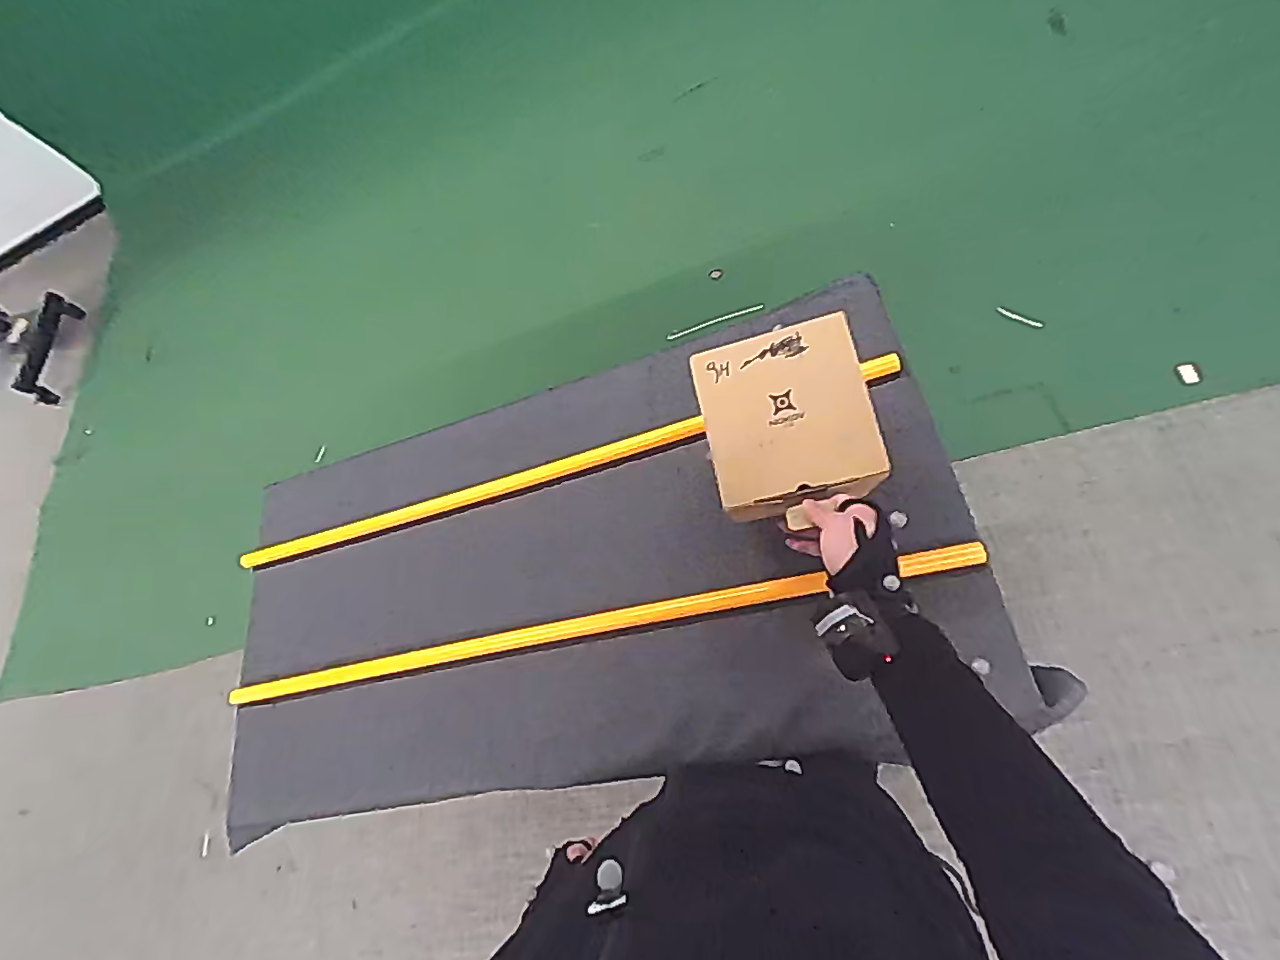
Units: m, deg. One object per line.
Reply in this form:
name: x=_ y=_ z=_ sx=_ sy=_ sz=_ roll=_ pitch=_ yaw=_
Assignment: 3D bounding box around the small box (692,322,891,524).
small box: x=0.176 y=-0.050 z=0.634 sx=0.168 sy=0.176 sz=0.179 roll=-17 pitch=77 yaw=15
